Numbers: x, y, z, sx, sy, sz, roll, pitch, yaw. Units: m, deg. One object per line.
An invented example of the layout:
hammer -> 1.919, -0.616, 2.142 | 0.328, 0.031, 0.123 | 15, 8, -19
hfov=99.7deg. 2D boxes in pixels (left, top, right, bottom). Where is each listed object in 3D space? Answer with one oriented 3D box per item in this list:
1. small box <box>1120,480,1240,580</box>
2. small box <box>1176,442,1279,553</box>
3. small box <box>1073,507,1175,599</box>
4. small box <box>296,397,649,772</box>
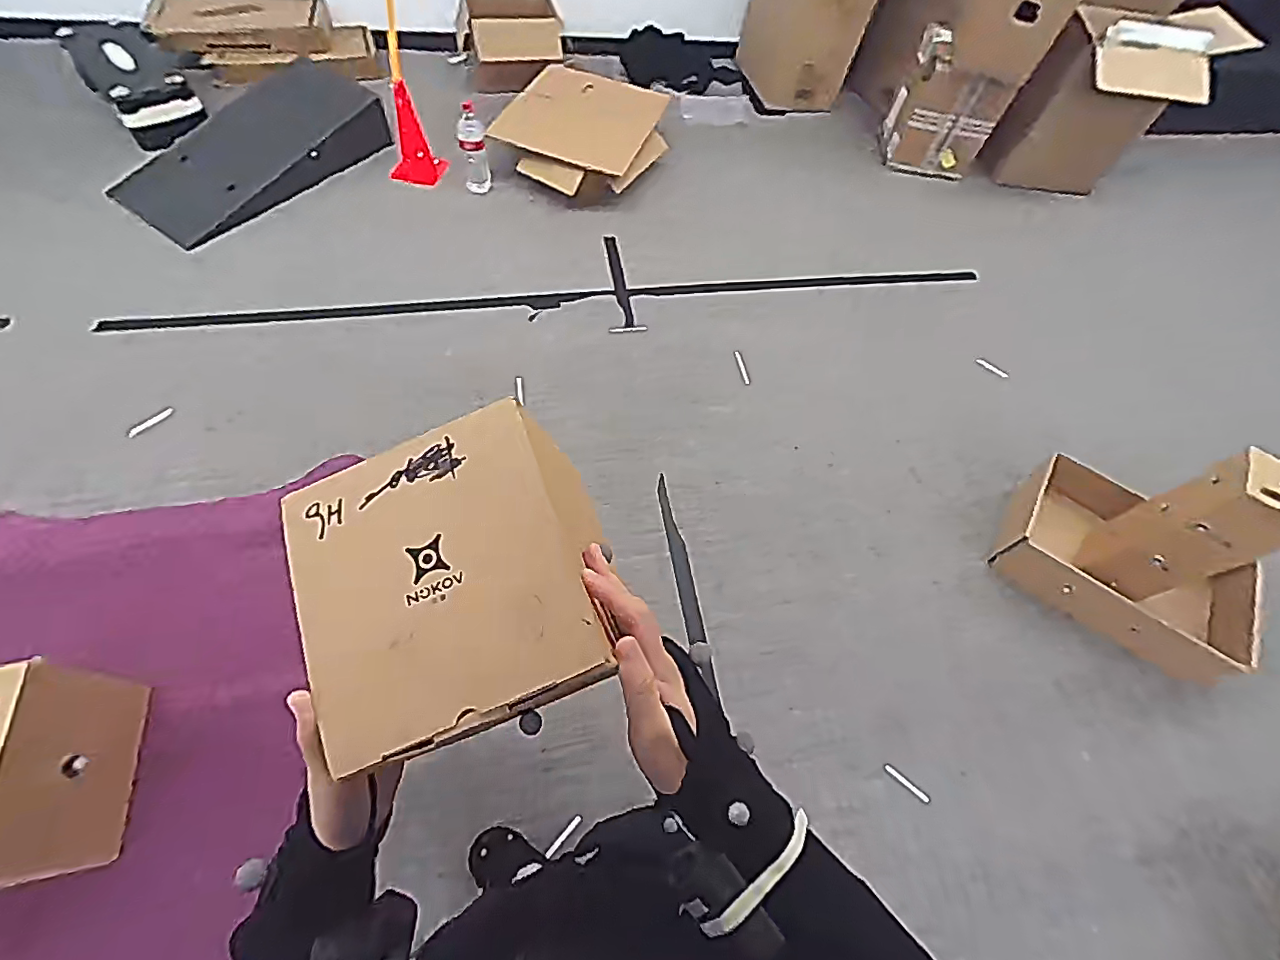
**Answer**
small box -> 1.453, 0.137, 1.458 | 0.168, 0.176, 0.179 | 35, 62, 14
small box -> 1.472, 0.049, 1.320 | 0.168, 0.176, 0.179 | 34, 60, 13
small box -> 1.435, 0.219, 1.596 | 0.168, 0.176, 0.179 | 36, 62, 15
small box -> -0.102, 0.074, 0.393 | 0.168, 0.176, 0.179 | -23, 72, 0
